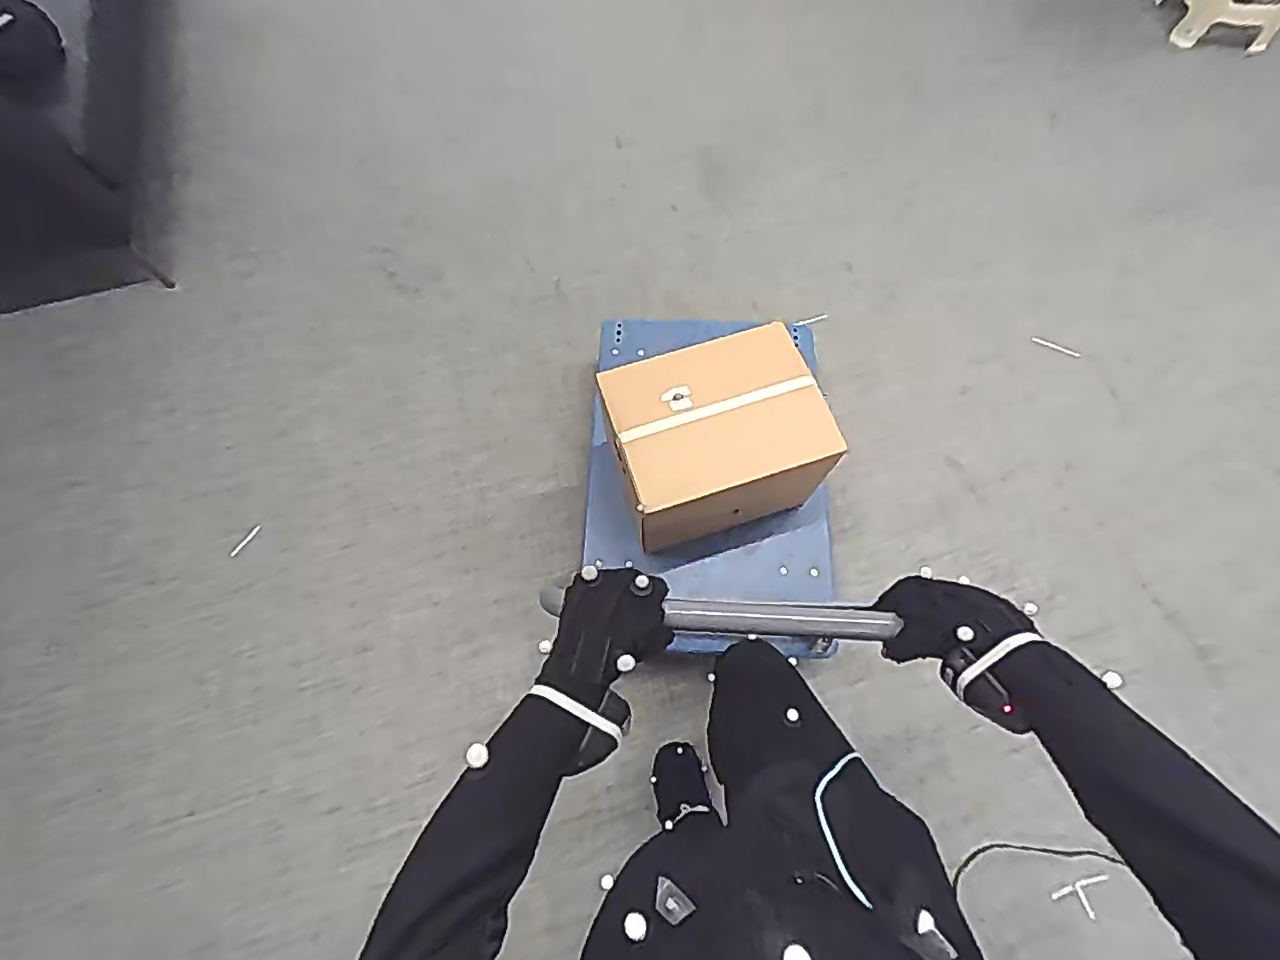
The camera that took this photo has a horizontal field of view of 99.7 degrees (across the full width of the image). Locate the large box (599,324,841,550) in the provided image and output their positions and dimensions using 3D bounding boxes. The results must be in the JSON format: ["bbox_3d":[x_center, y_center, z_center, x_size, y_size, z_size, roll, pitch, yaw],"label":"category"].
[{"bbox_3d":[0.156,-0.078,1.197,0.408,0.320,0.320,-18,69,-5],"label":"large box"}]
